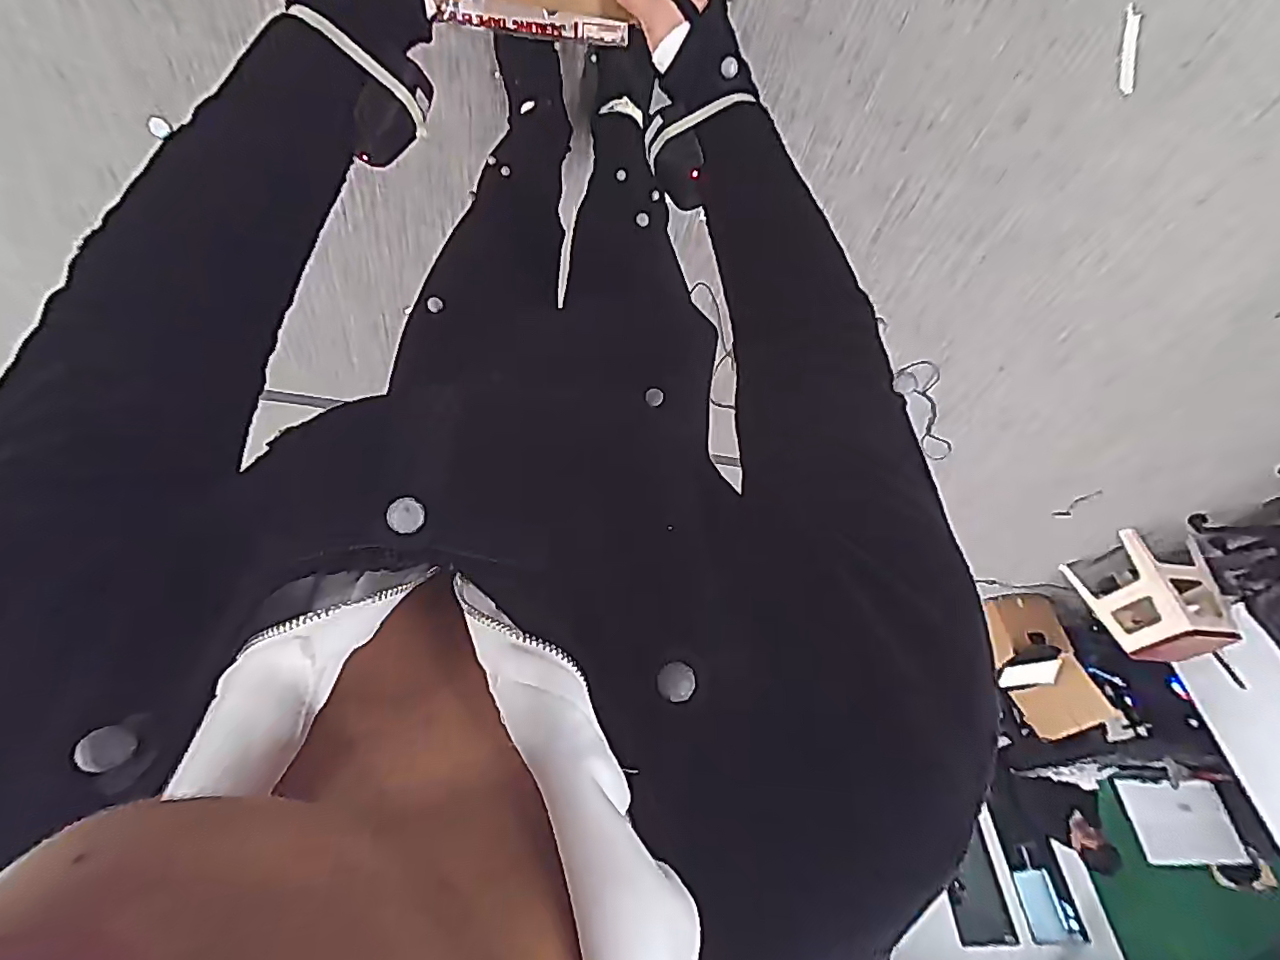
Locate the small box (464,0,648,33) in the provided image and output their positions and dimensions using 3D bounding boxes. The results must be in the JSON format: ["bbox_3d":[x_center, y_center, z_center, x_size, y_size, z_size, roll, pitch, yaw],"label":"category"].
[{"bbox_3d":[-0.063,-0.495,0.430,0.168,0.176,0.179,5,137,-6],"label":"small box"}]
